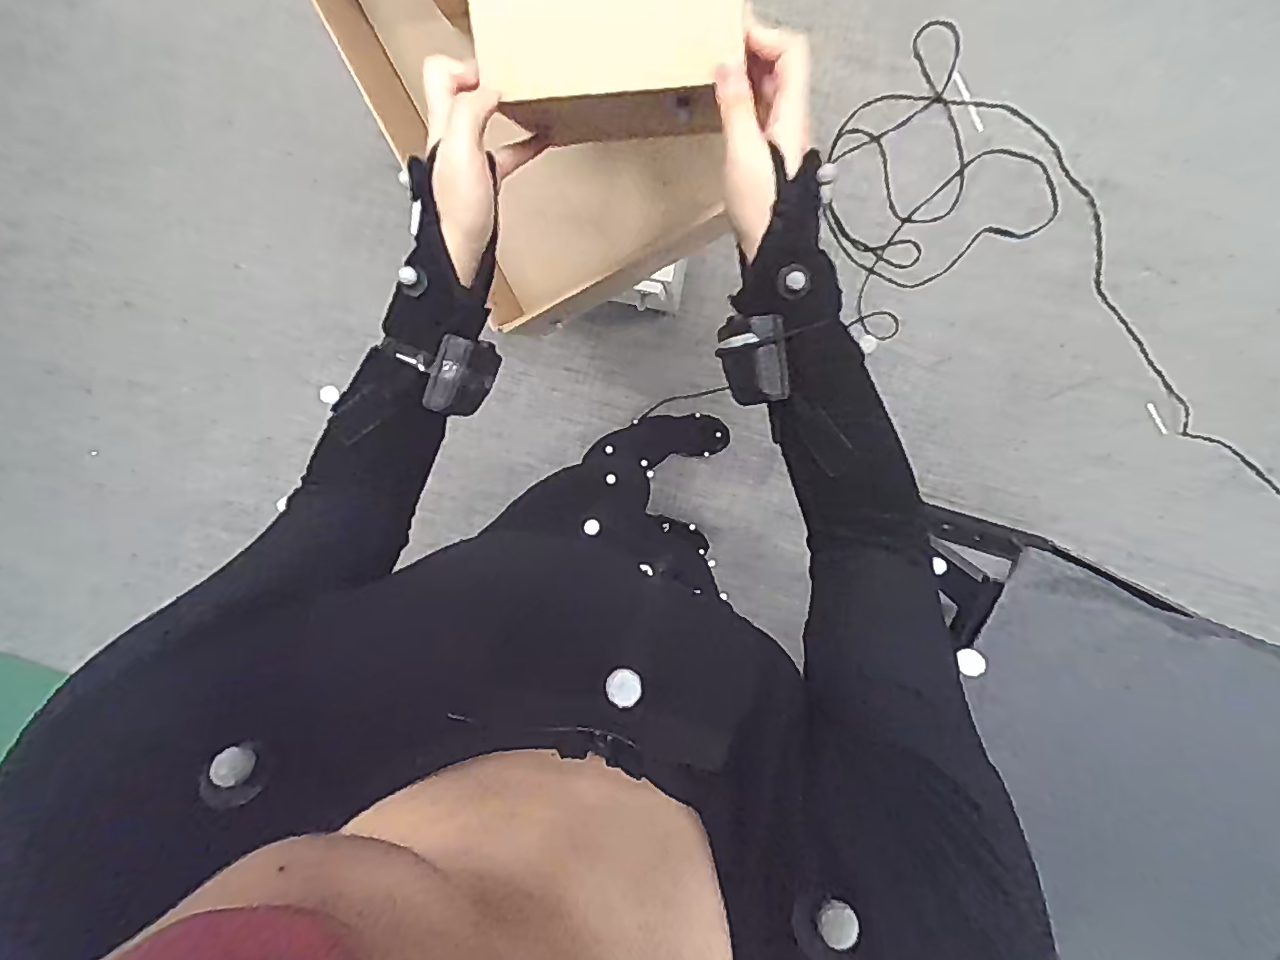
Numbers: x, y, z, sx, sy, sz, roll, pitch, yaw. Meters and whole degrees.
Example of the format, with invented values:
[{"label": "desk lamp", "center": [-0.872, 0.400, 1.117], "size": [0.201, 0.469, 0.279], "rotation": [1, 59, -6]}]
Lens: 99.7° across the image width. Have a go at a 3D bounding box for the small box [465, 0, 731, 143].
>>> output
[{"label": "small box", "center": [-0.024, -0.371, 0.412], "size": [0.179, 0.176, 0.168], "rotation": [-2, 112, 4]}]
